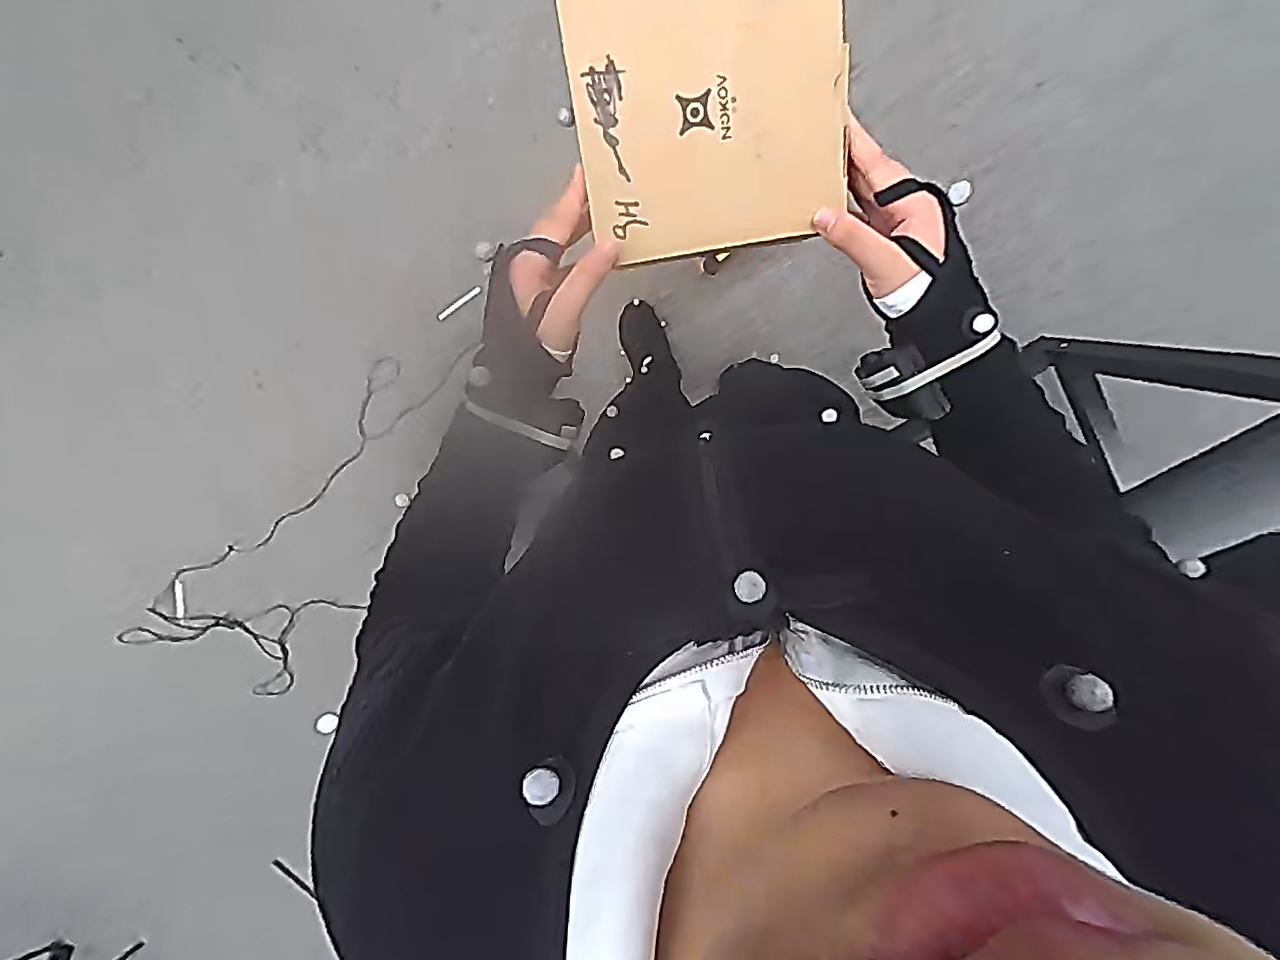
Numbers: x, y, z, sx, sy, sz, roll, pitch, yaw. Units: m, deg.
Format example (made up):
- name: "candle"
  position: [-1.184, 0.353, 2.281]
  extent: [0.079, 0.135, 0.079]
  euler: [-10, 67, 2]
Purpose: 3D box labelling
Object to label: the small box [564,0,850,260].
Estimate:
- name: "small box"
  position: [0.049, -0.273, 0.425]
  extent: [0.179, 0.176, 0.168]
  euler: [-7, 109, 5]
